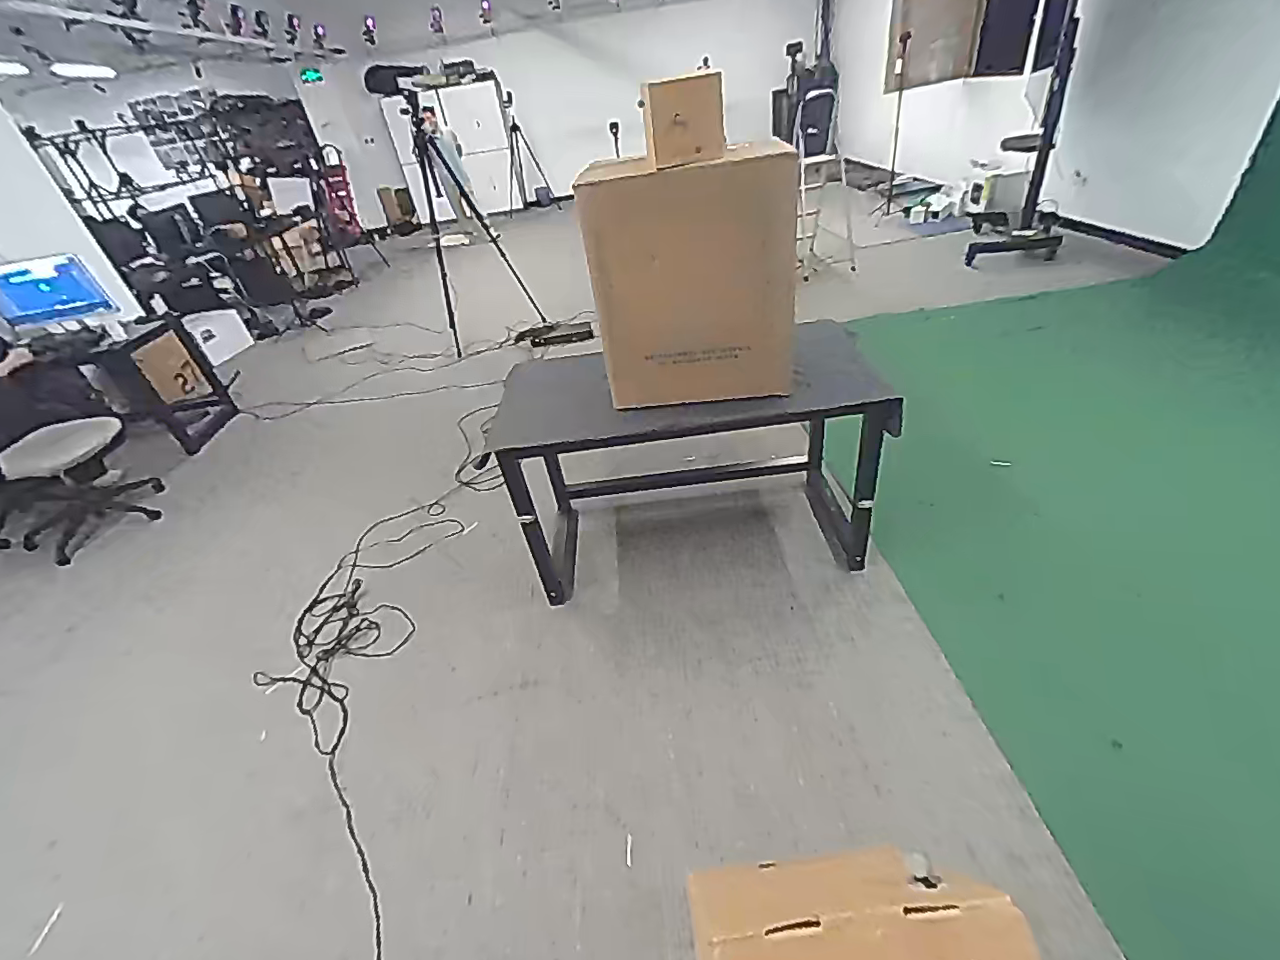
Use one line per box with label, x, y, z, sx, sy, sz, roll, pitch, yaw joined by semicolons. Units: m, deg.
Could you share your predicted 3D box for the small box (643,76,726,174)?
small box;0.106;-0.839;1.283;0.168;0.176;0.179;-10;37;1
